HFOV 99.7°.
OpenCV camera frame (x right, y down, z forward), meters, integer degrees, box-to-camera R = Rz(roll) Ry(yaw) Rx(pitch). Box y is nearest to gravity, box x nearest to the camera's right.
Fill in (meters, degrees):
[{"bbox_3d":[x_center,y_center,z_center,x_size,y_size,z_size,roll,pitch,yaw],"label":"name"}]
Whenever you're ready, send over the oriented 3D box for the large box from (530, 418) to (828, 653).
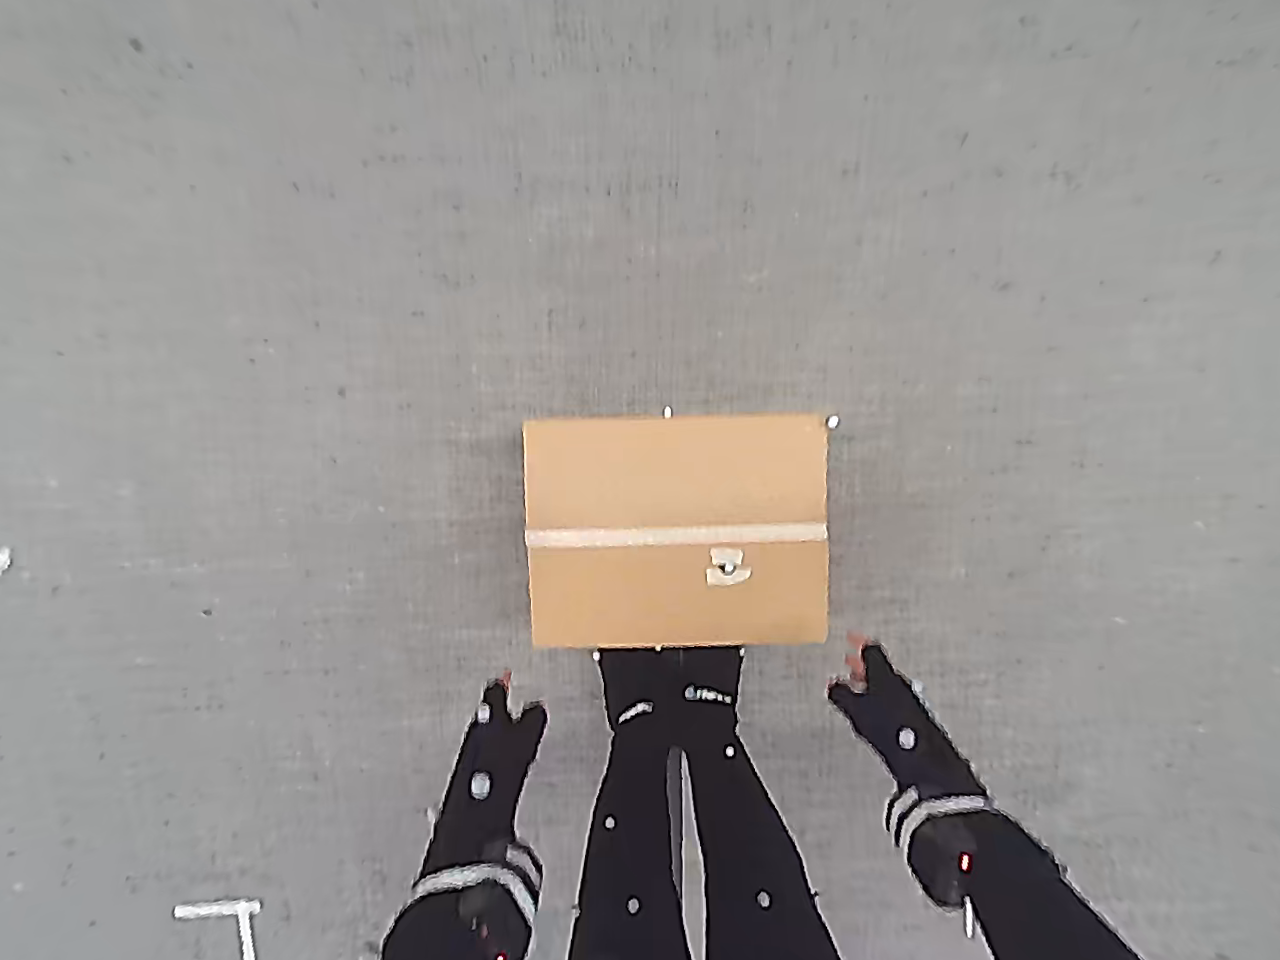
[{"bbox_3d":[0.053,0.070,0.885,0.408,0.320,0.320,-2,94,-1],"label":"large box"}]
